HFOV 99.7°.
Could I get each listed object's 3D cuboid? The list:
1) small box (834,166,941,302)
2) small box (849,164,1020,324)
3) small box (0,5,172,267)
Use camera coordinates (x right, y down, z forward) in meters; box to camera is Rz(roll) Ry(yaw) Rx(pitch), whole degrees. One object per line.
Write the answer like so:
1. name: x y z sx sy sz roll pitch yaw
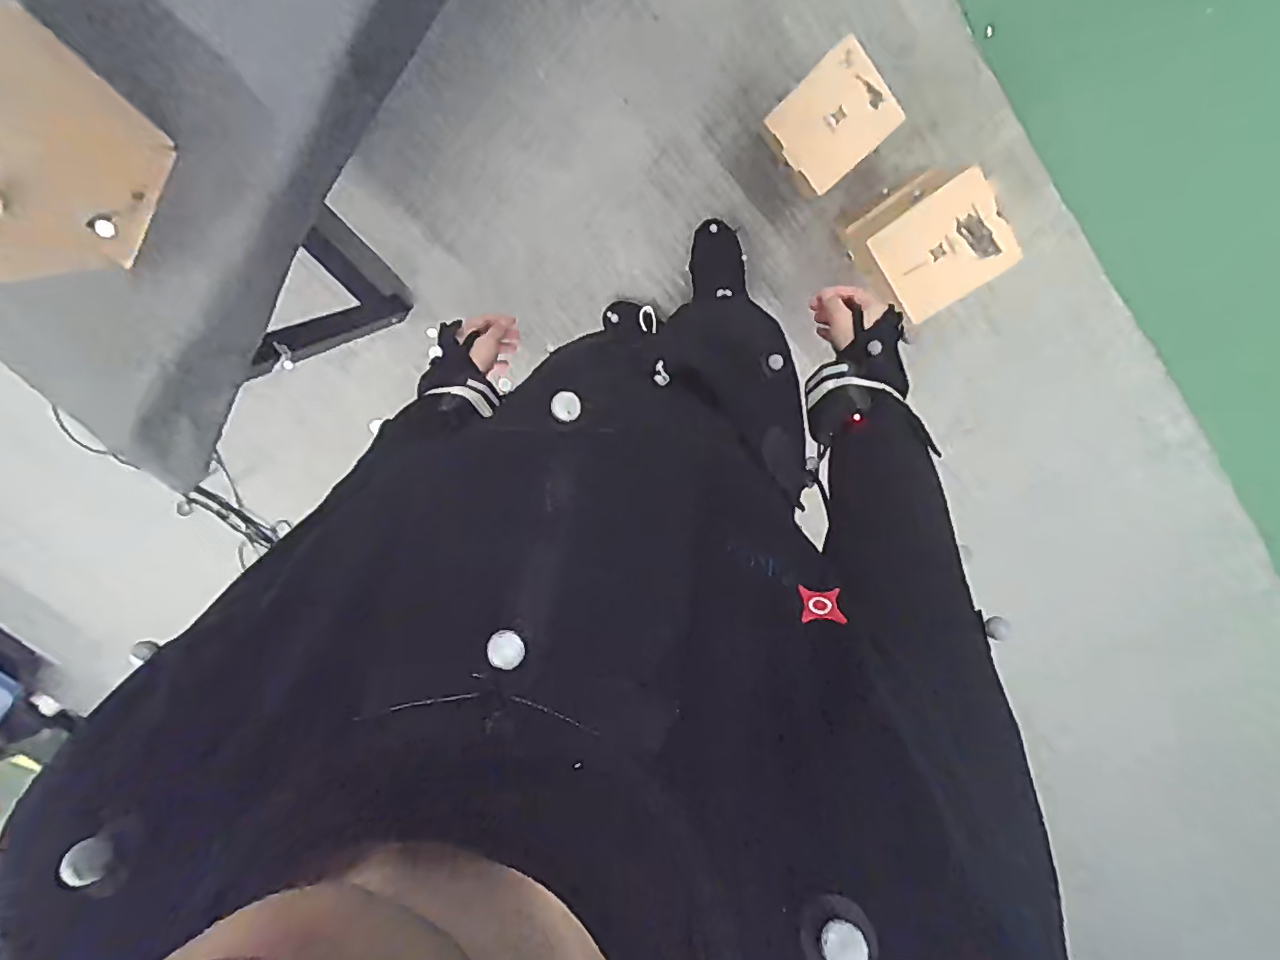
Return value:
1. small box: 0.500 -0.474 1.046 0.179 0.176 0.168 -32 107 24
2. small box: 0.479 -0.393 0.904 0.179 0.176 0.168 -32 107 24
3. small box: -0.591 -0.309 0.483 0.179 0.176 0.168 43 115 -13
